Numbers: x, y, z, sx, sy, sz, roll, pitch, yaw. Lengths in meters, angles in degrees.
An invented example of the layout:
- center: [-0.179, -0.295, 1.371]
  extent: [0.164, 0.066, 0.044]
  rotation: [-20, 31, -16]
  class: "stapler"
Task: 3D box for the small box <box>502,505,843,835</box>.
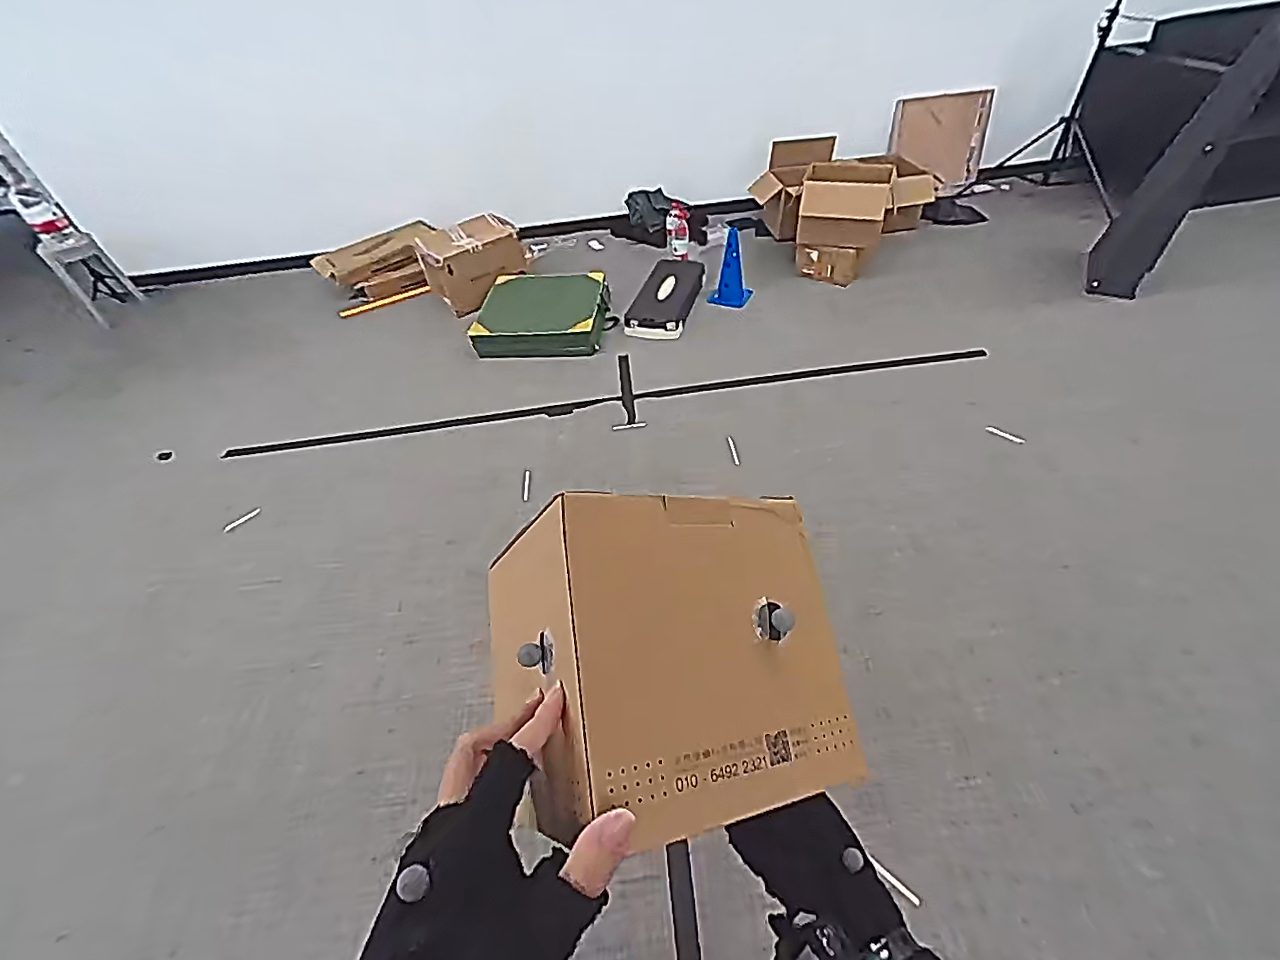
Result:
- center: [0.008, 0.123, 0.373]
  extent: [0.168, 0.179, 0.176]
  rotation: [3, 67, -26]
  class: "small box"
